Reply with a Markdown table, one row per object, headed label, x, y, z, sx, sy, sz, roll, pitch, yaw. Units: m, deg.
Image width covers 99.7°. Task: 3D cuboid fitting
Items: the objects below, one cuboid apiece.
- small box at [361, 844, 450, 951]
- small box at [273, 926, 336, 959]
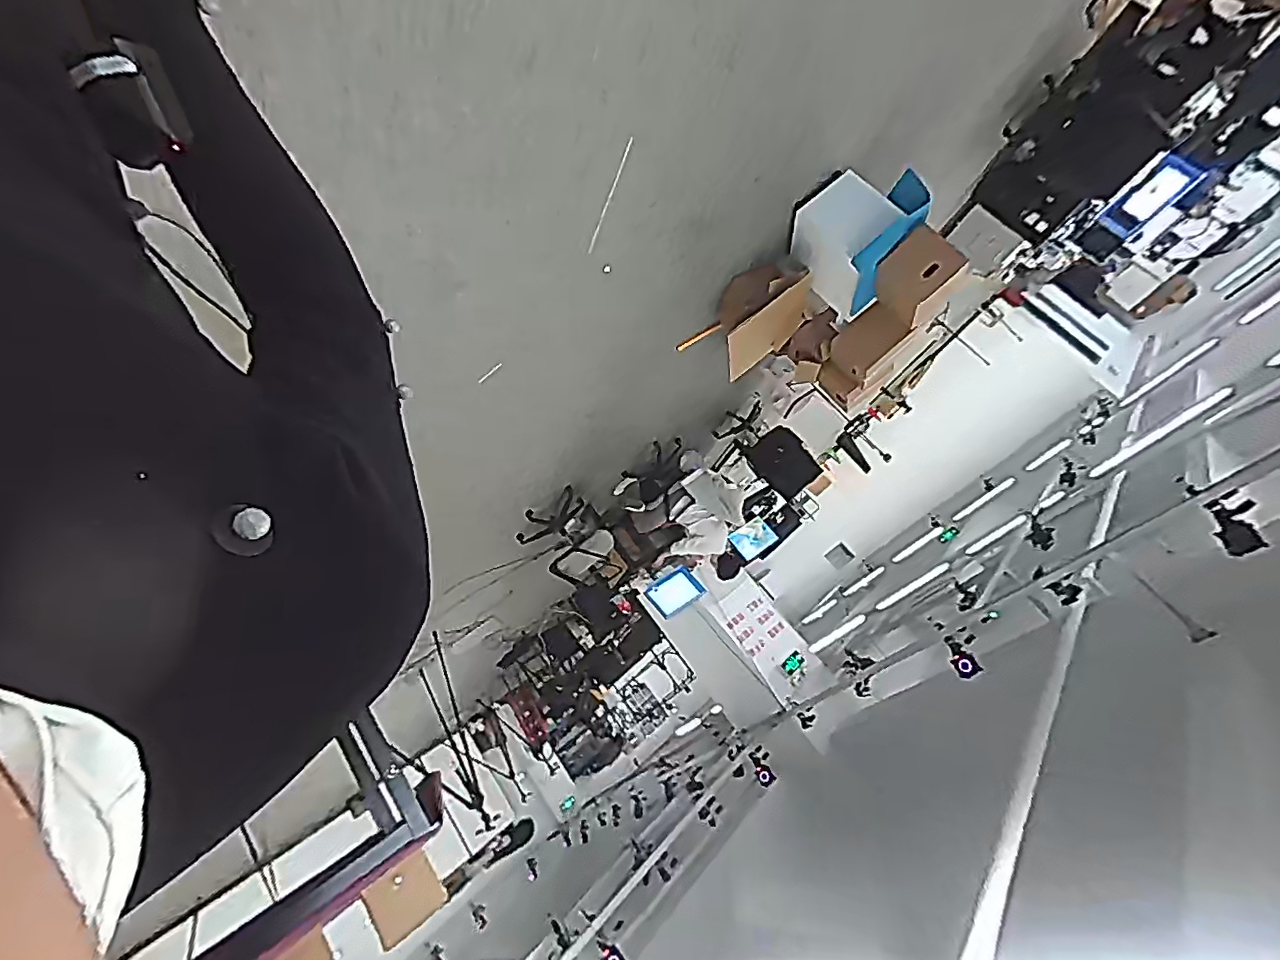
| label | x | y | z | sx | sy | sz | roll | pitch | yaw |
| --- | --- | --- | --- | --- | --- | --- | --- | --- | --- |
| small box | -0.672 | 1.183 | 1.536 | 0.179 | 0.176 | 0.168 | -24 | 158 | -40 |
| small box | -0.860 | 1.267 | 1.357 | 0.168 | 0.176 | 0.179 | -22 | 158 | -44 |
